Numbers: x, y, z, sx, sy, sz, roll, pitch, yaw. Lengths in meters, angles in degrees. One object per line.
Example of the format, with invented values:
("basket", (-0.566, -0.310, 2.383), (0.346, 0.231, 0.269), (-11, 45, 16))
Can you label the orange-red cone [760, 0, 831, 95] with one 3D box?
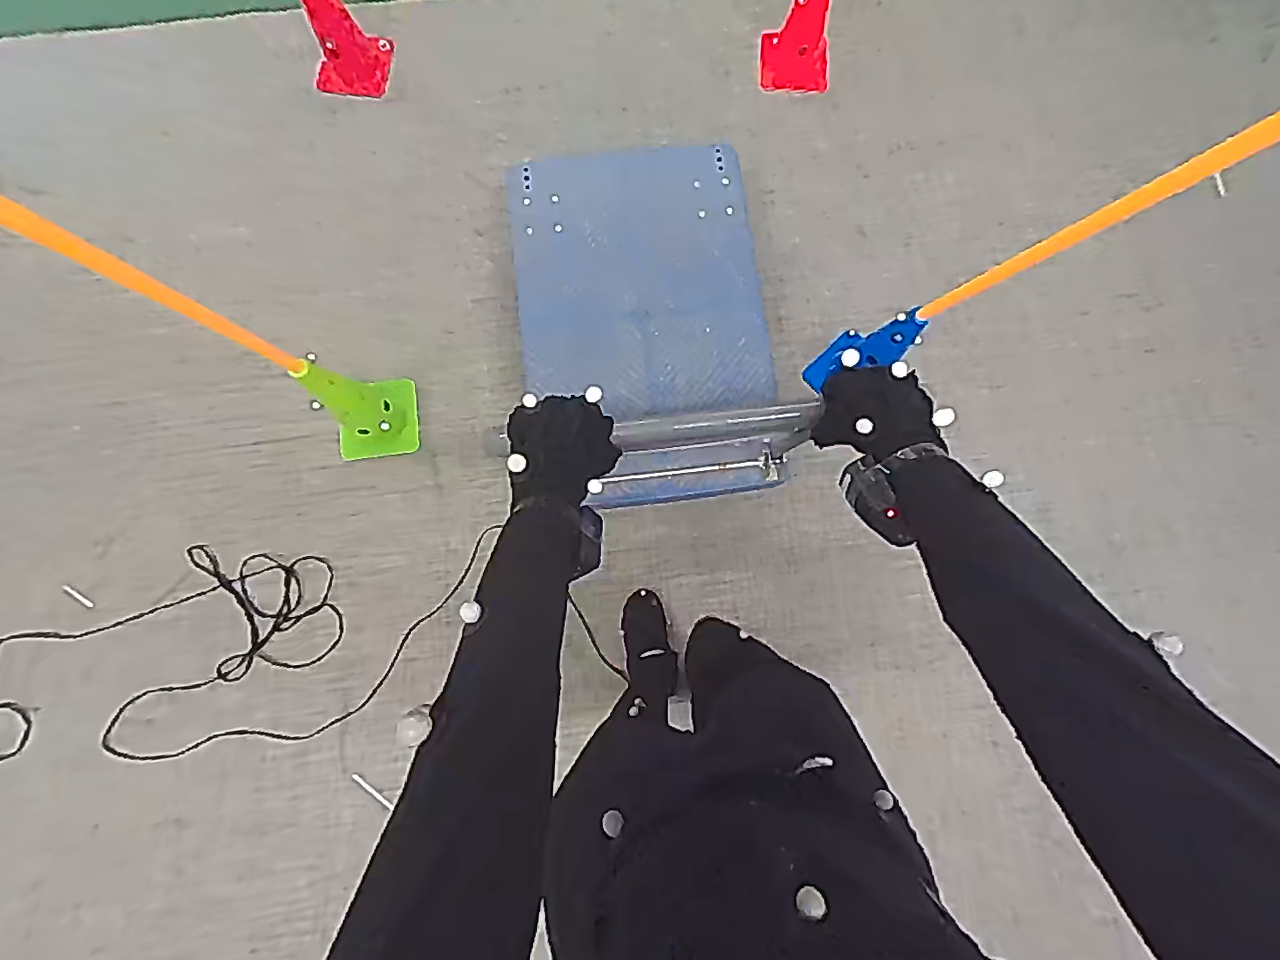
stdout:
("orange-red cone", (0.459, -1.262, 1.441), (0.198, 0.360, 0.199), (4, 81, 1))
